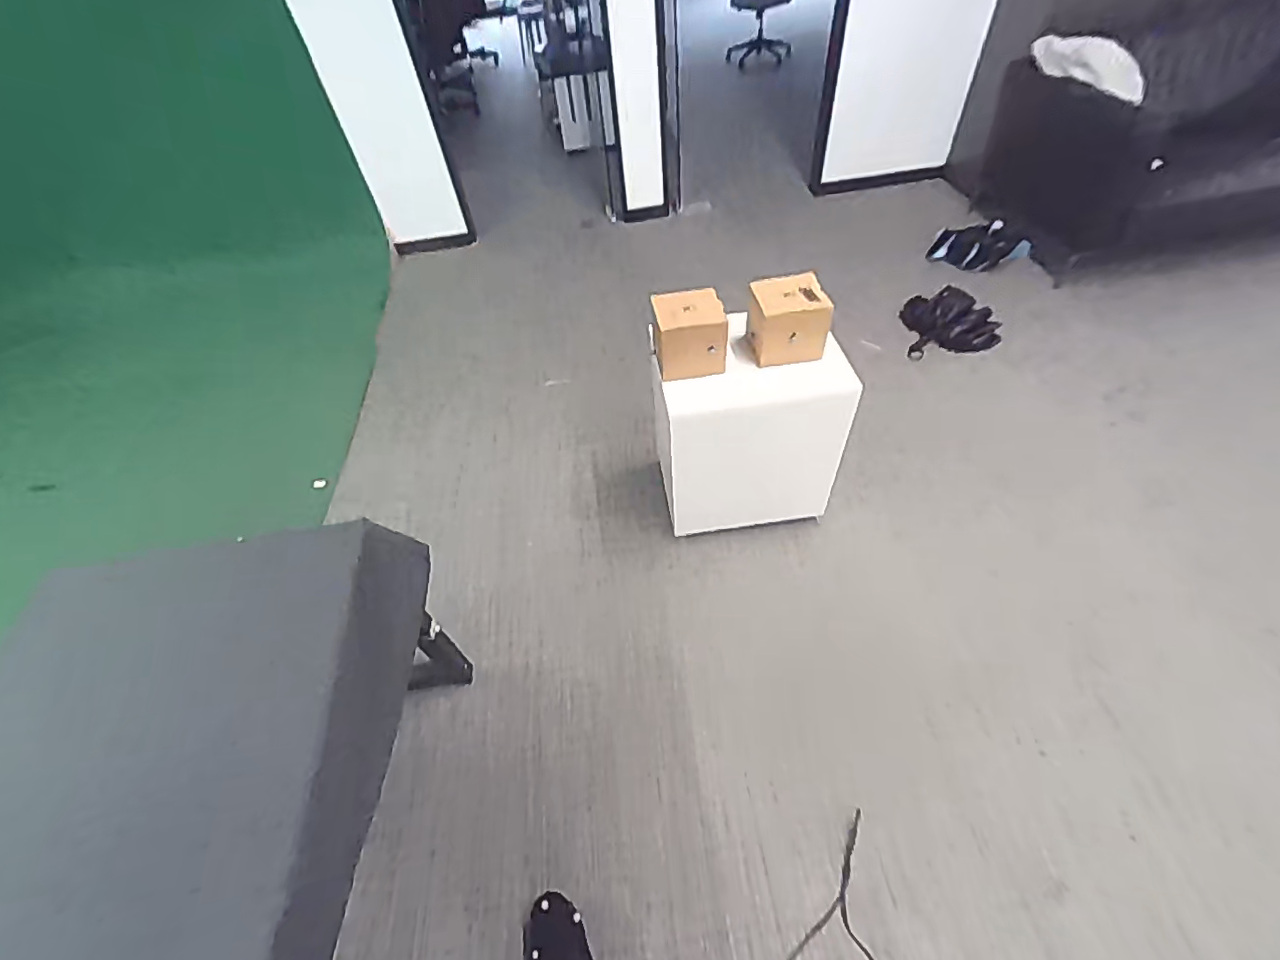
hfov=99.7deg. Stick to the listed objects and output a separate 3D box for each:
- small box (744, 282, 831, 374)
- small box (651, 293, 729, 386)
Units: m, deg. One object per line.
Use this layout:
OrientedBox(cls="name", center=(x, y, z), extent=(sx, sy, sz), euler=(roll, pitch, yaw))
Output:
OrientedBox(cls="small box", center=(0.389, -0.408, 1.459), extent=(0.179, 0.176, 0.168), euler=(-8, 49, -2))
OrientedBox(cls="small box", center=(0.126, -0.374, 1.447), extent=(0.179, 0.176, 0.168), euler=(-9, 48, -4))
